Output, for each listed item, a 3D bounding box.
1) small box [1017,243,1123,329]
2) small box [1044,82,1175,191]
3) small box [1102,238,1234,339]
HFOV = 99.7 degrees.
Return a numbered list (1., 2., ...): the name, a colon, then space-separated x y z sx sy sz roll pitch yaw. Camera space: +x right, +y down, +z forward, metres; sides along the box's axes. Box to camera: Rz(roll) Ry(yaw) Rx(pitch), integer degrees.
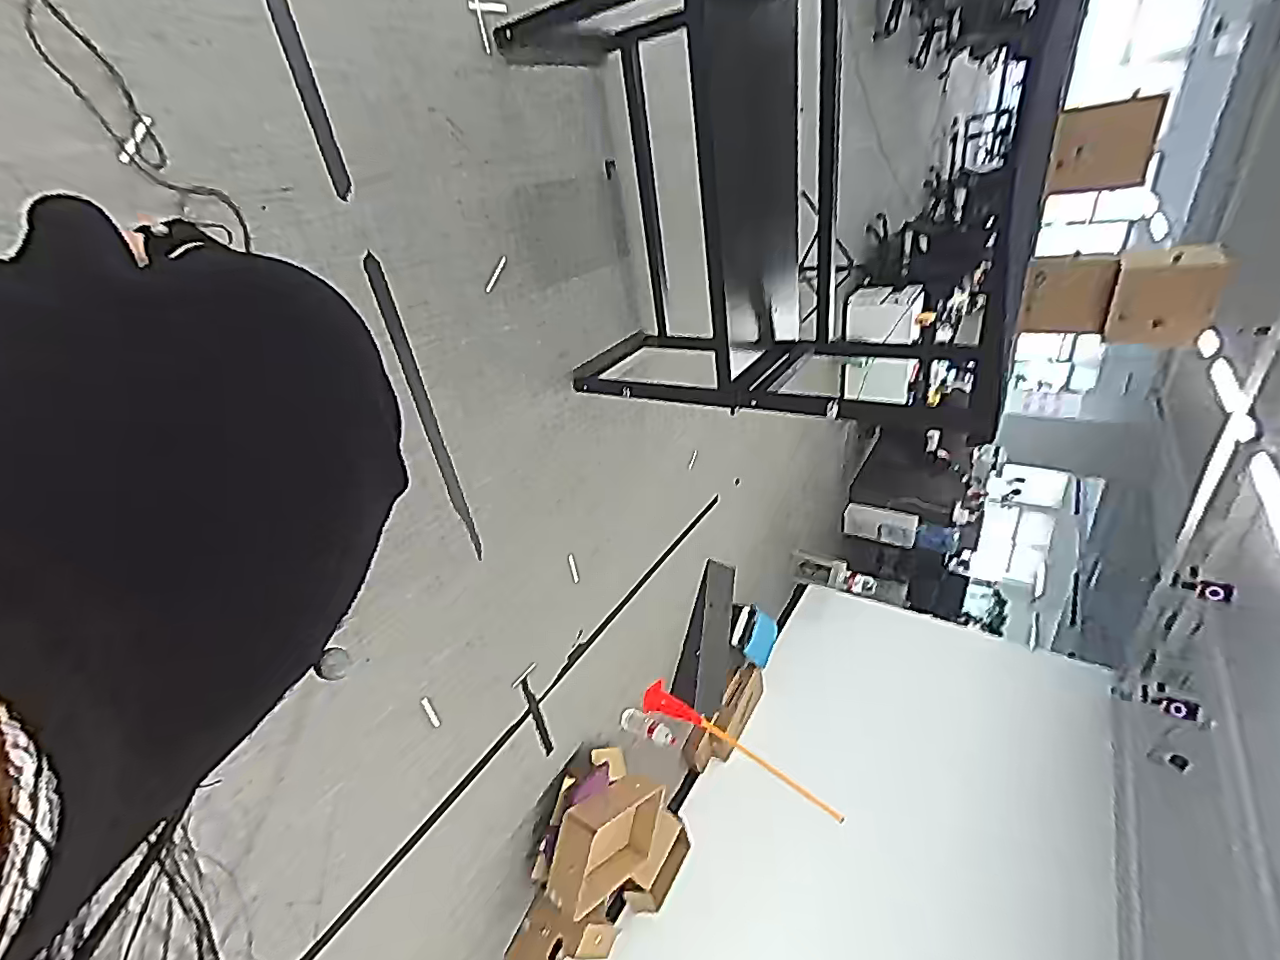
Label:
1. small box: 1.008 -0.458 1.281 0.179 0.176 0.168 -39 131 -46
2. small box: 0.962 -0.710 1.126 0.179 0.176 0.168 -43 133 -44
3. small box: 1.124 -0.415 1.171 0.179 0.176 0.168 -45 136 -41
